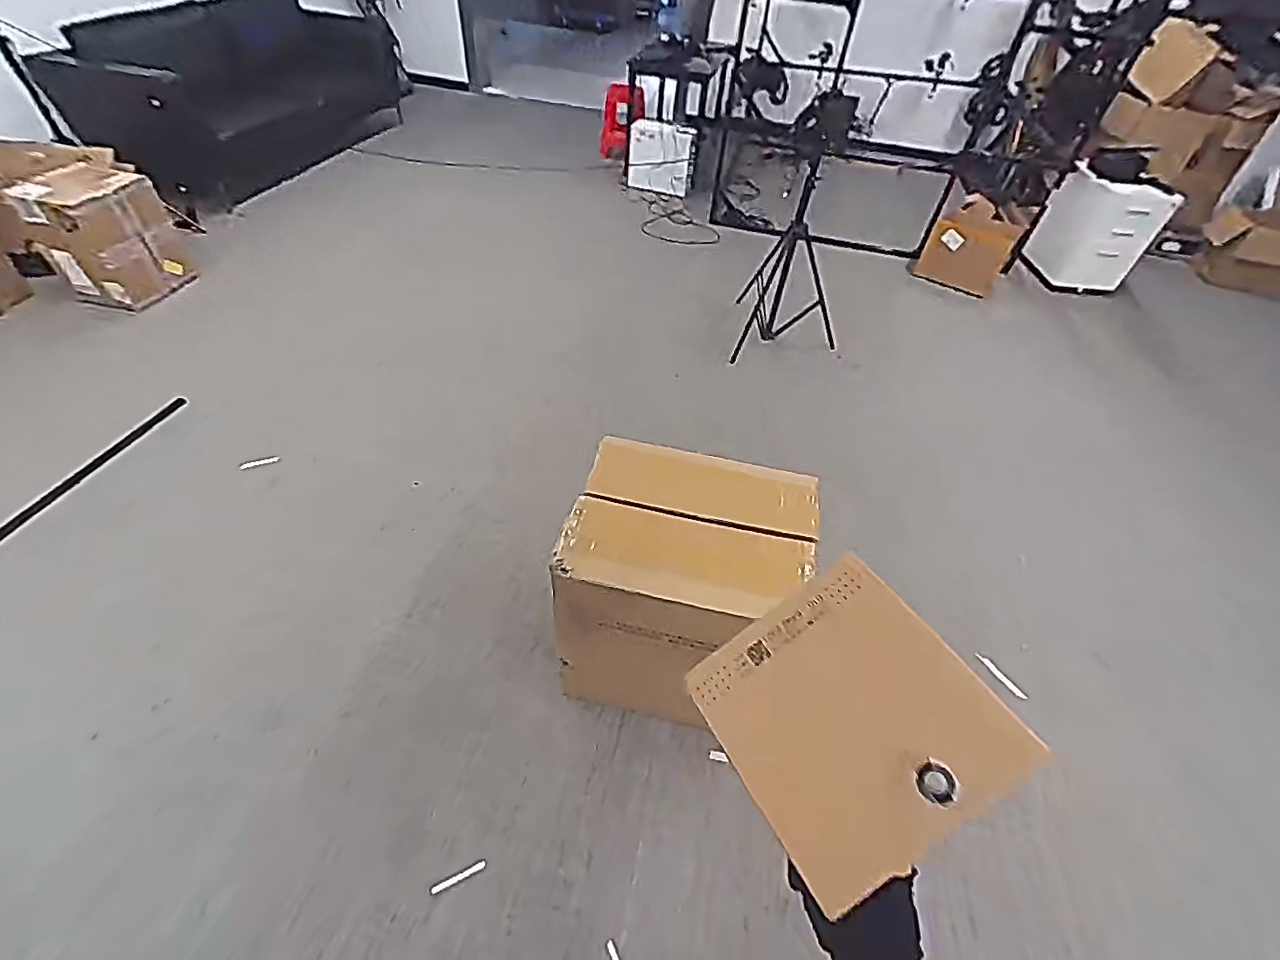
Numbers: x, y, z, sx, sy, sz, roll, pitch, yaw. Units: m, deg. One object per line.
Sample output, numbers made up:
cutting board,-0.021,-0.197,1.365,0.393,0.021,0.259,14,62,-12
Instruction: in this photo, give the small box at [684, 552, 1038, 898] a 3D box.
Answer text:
small box,0.163,0.185,0.436,0.168,0.179,0.176,-39,53,0
